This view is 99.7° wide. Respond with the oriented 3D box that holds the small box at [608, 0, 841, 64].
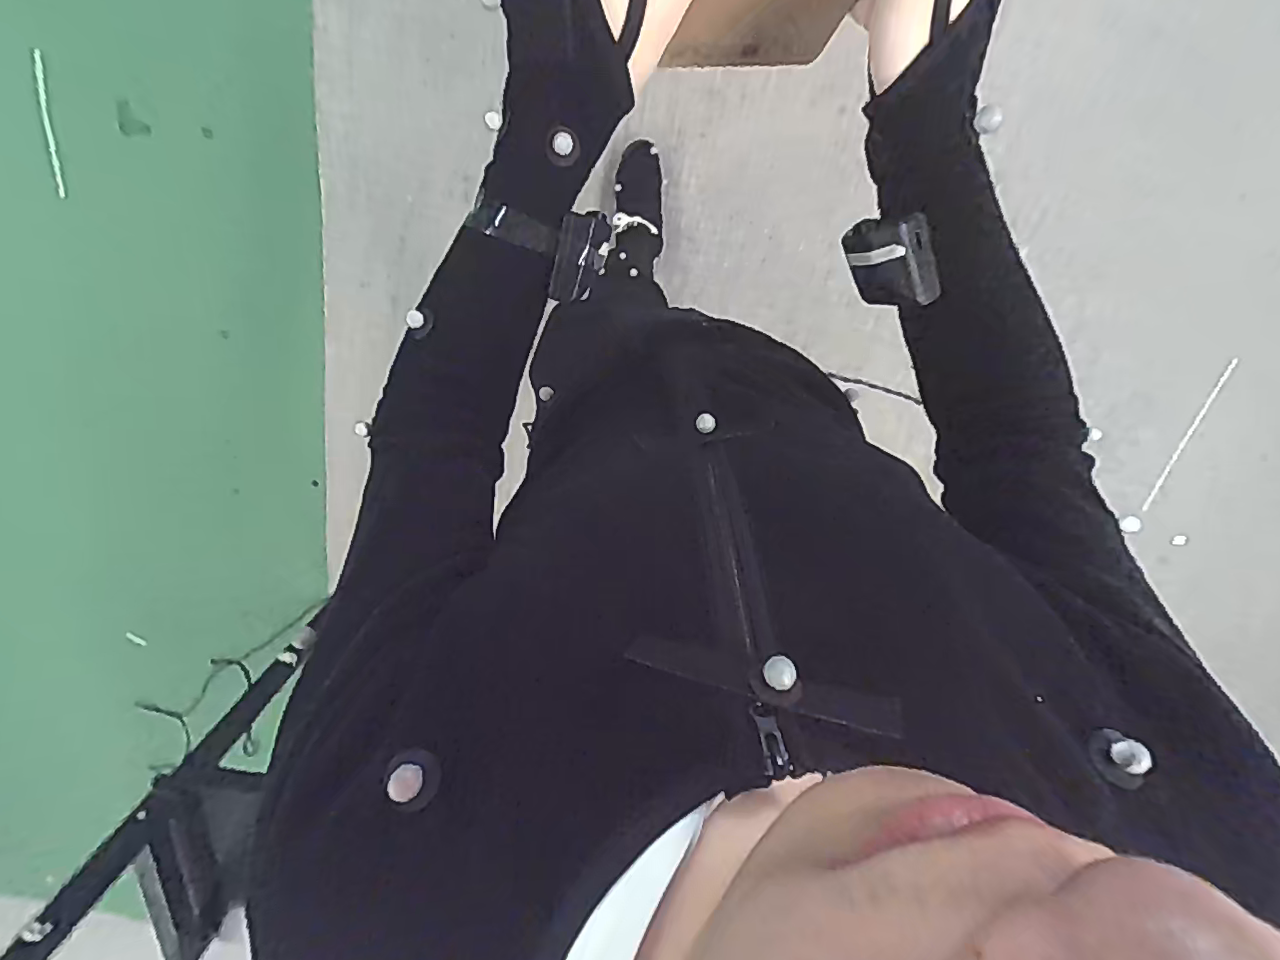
[{"bbox_3d":[0.061,-0.414,0.344,0.168,0.176,0.179,-3,97,-5],"label":"small box"}]
